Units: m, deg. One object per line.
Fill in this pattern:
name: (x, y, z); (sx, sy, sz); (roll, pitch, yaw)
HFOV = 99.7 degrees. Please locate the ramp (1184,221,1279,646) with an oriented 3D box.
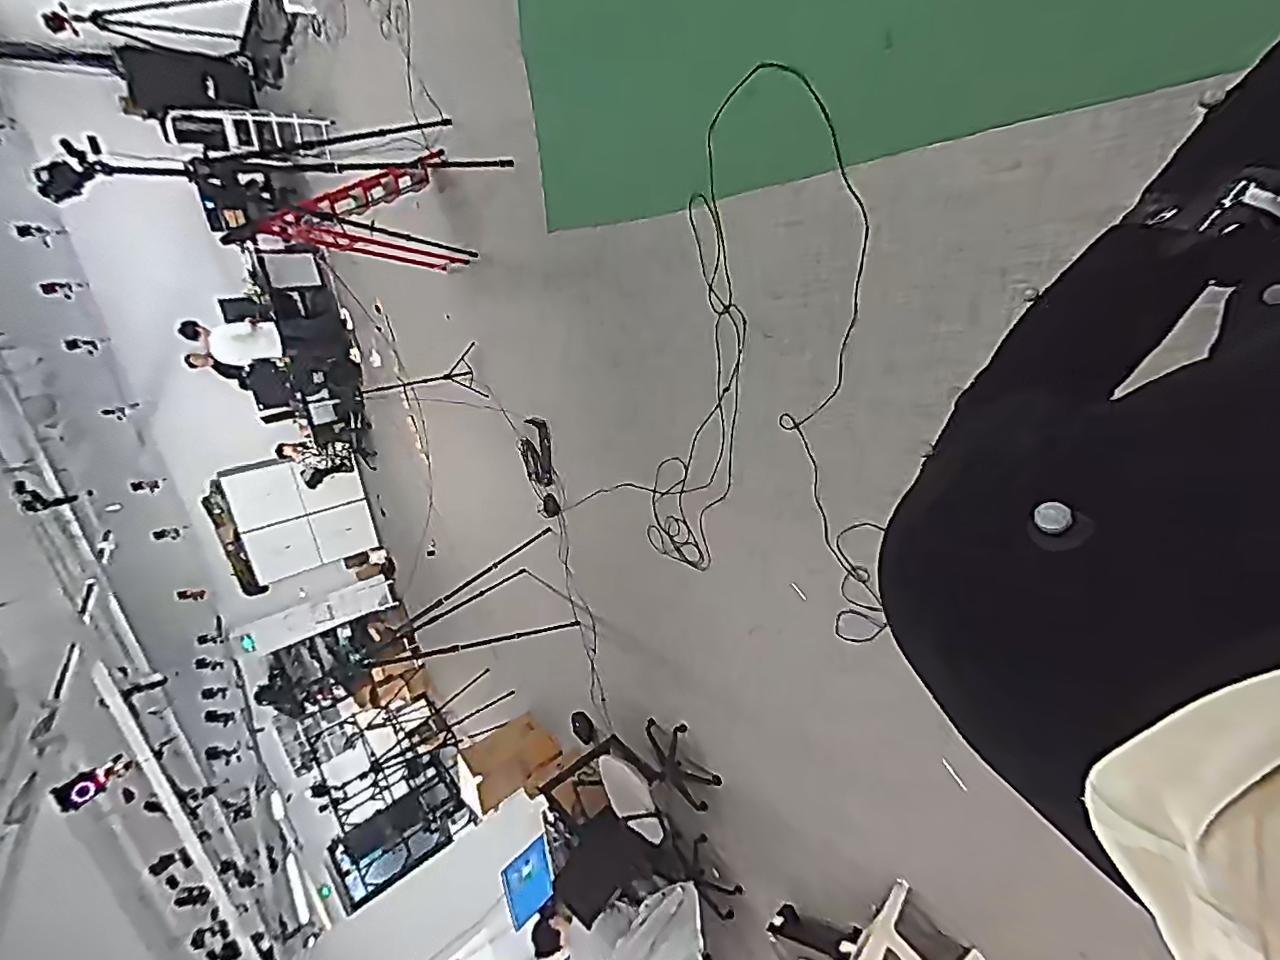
ramp: (1.478, -0.019, 1.044); (0.509, 0.206, 0.991); (13, 117, 48)
